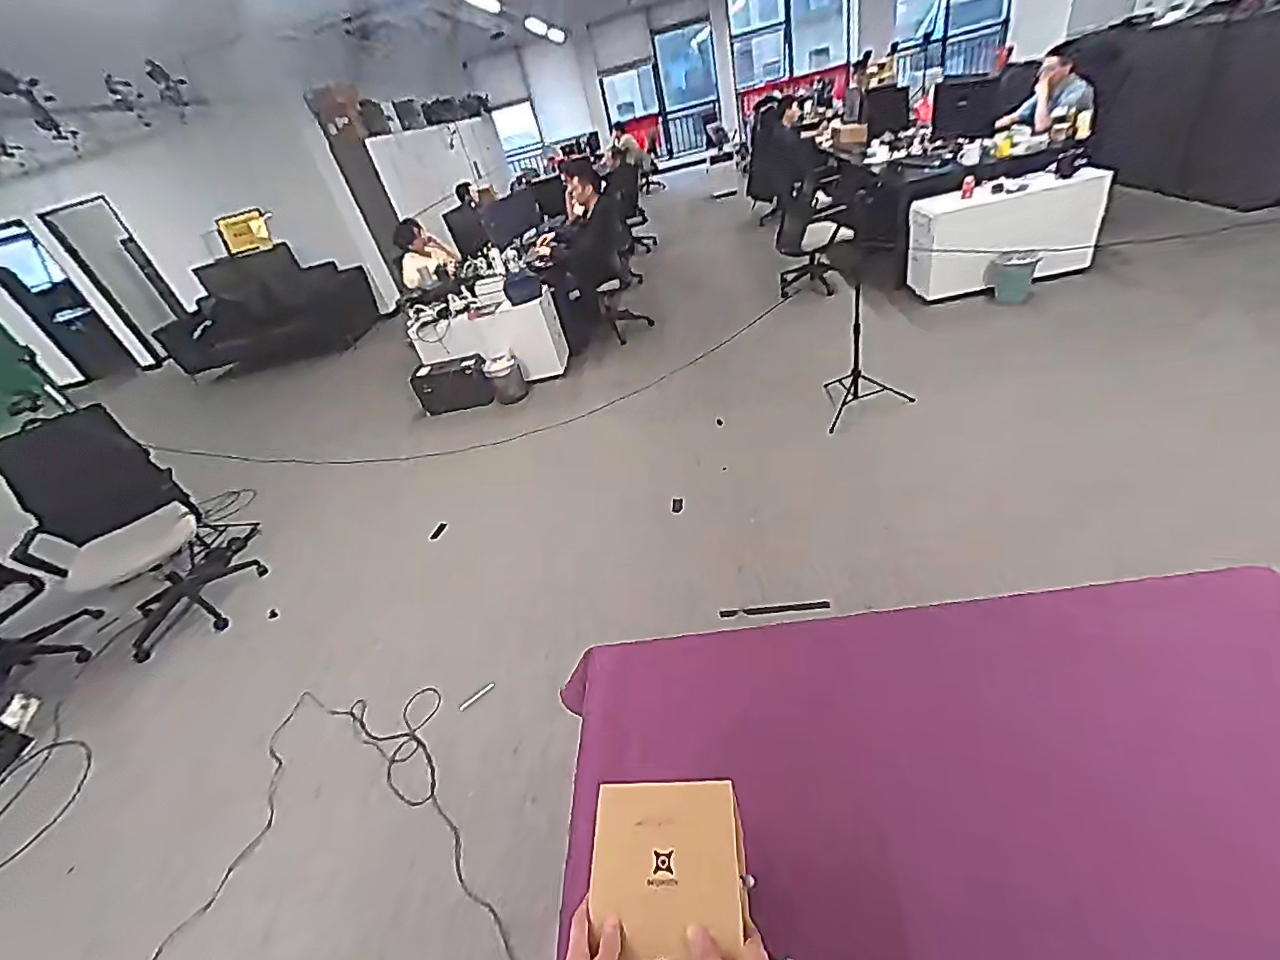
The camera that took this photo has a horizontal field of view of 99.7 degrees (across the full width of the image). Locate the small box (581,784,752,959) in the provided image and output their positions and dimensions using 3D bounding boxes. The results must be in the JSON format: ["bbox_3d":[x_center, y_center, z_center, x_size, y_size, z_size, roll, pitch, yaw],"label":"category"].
[{"bbox_3d":[0.040,0.486,0.640,0.168,0.176,0.179,-6,40,9],"label":"small box"}]
